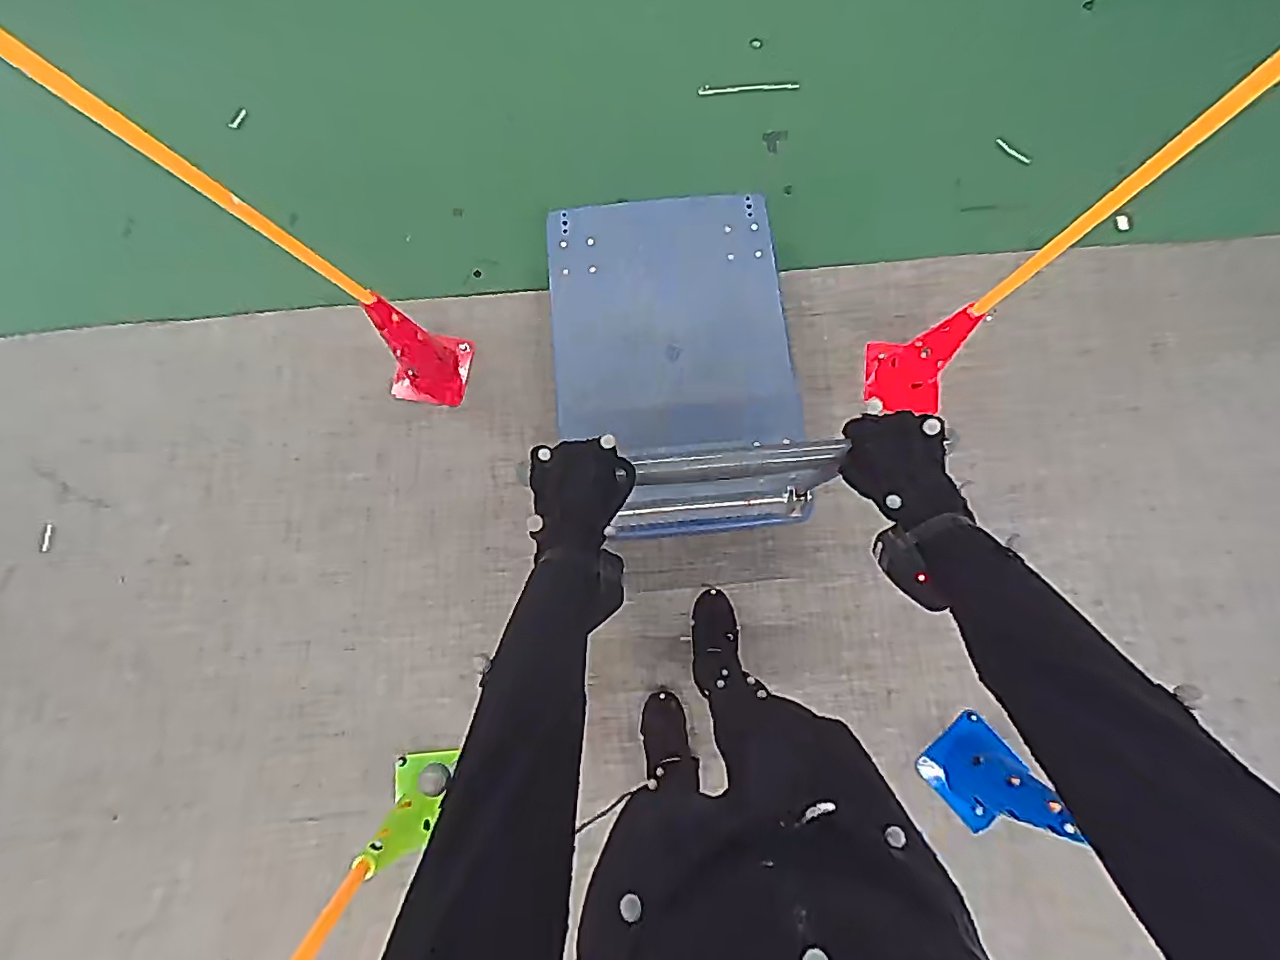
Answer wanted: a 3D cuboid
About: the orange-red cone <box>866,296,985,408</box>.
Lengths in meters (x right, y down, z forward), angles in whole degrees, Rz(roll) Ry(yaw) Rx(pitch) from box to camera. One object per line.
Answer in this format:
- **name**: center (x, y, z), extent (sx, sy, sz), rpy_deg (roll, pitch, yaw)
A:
- **orange-red cone**: center (0.709, -0.329, 1.295), extent (0.198, 0.360, 0.199), rpy_deg (6, 79, 4)
